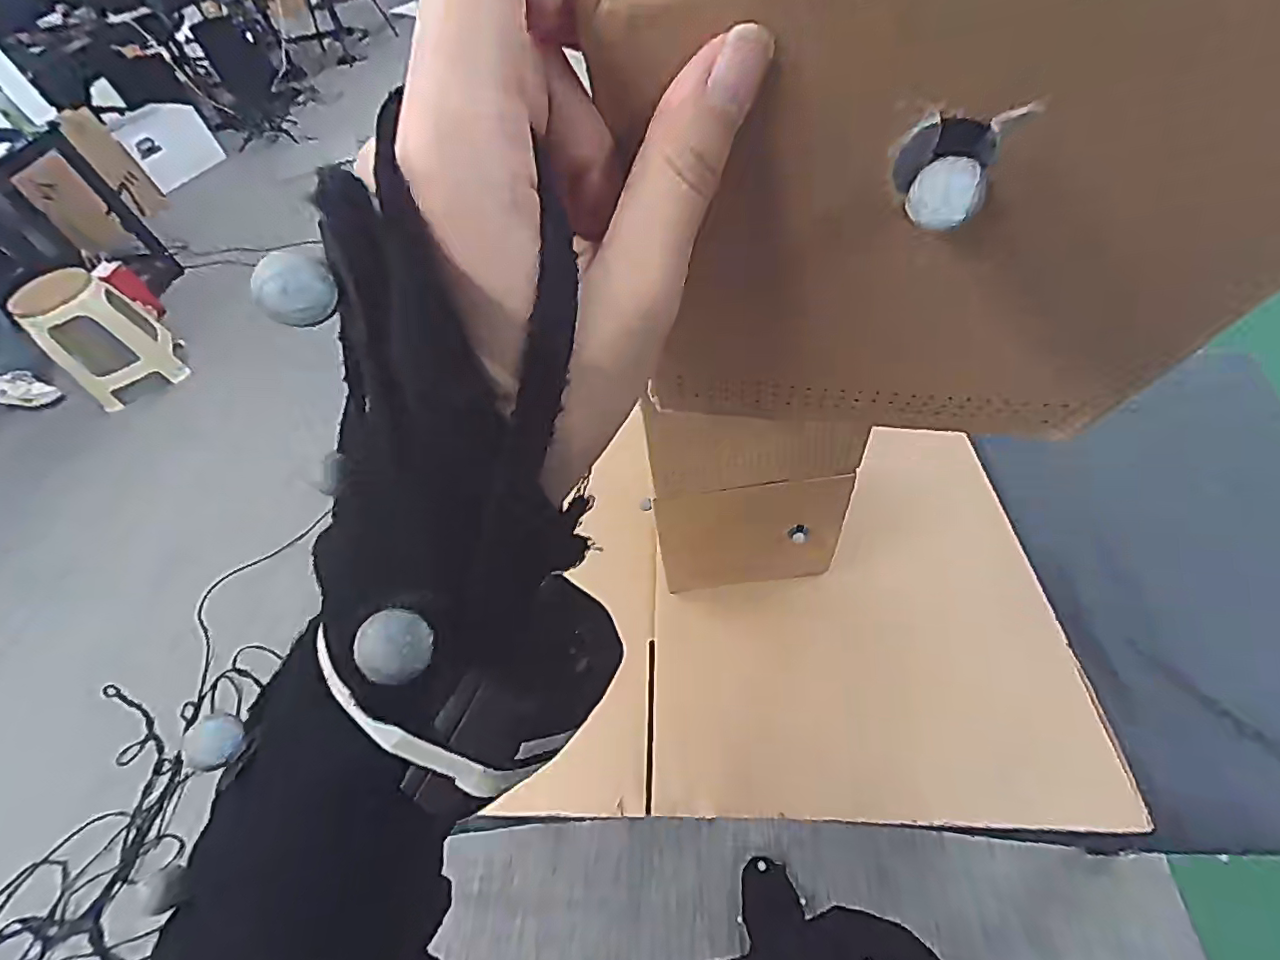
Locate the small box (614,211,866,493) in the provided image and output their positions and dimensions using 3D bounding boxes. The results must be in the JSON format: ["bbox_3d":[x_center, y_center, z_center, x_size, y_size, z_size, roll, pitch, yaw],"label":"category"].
[{"bbox_3d":[0.080,-0.110,0.438,0.179,0.176,0.168,-9,50,2],"label":"small box"}]

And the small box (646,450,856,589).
[{"bbox_3d":[0.098,-0.004,0.563,0.179,0.176,0.168,-9,50,3],"label":"small box"}]

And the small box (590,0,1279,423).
[{"bbox_3d":[0.096,-0.131,0.191,0.179,0.176,0.168,5,69,10],"label":"small box"}]
